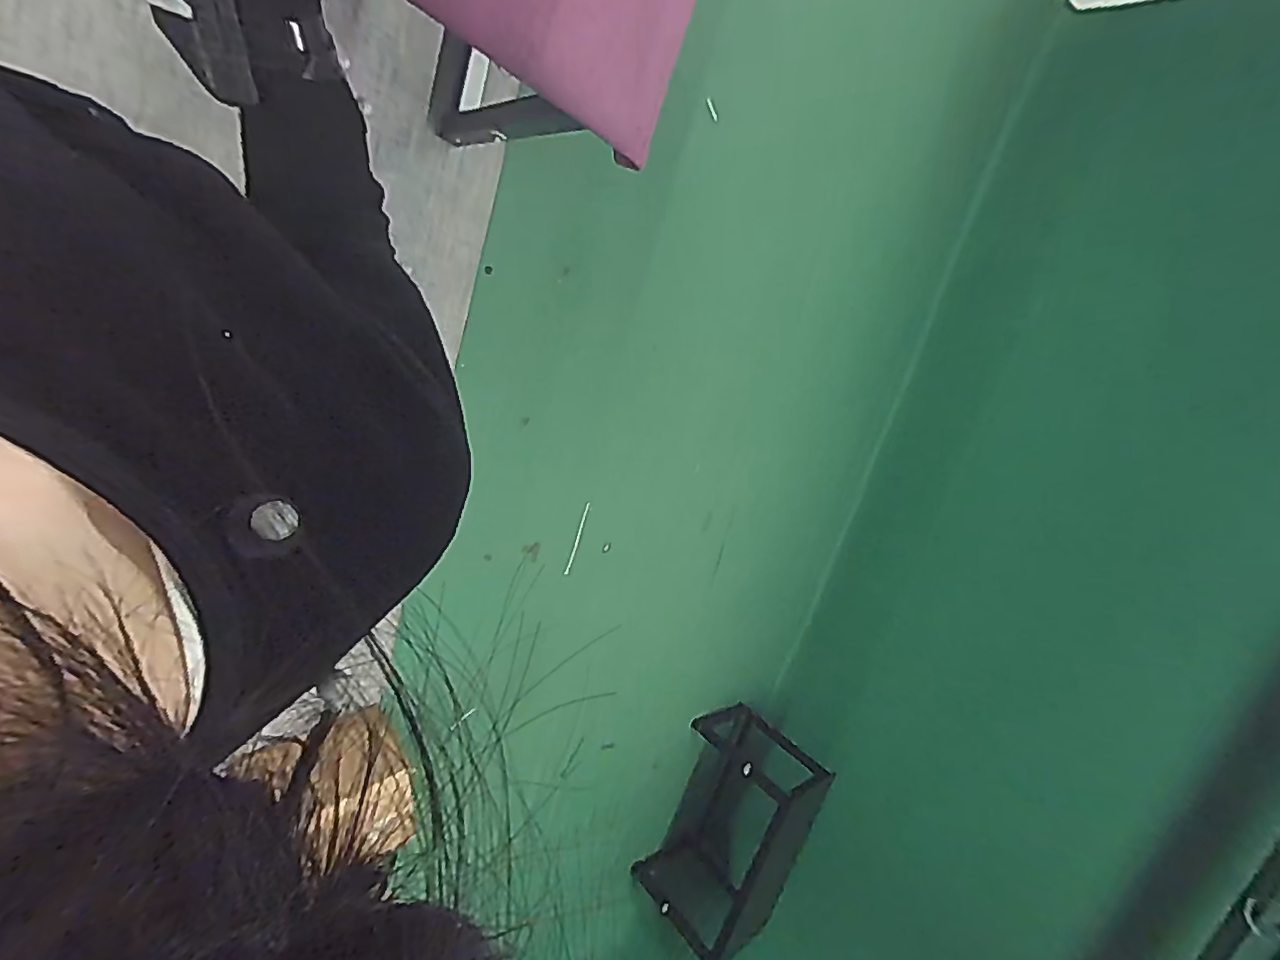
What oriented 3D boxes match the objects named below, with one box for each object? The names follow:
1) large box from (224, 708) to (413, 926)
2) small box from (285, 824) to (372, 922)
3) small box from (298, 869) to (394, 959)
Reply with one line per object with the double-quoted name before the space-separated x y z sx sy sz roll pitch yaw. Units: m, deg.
"large box" -0.948 0.971 1.616 0.408 0.320 0.320 -13 120 -42
"small box" -0.816 1.051 1.422 0.168 0.176 0.179 -12 118 -41
"small box" -0.711 1.110 1.312 0.179 0.176 0.168 -13 119 -40
